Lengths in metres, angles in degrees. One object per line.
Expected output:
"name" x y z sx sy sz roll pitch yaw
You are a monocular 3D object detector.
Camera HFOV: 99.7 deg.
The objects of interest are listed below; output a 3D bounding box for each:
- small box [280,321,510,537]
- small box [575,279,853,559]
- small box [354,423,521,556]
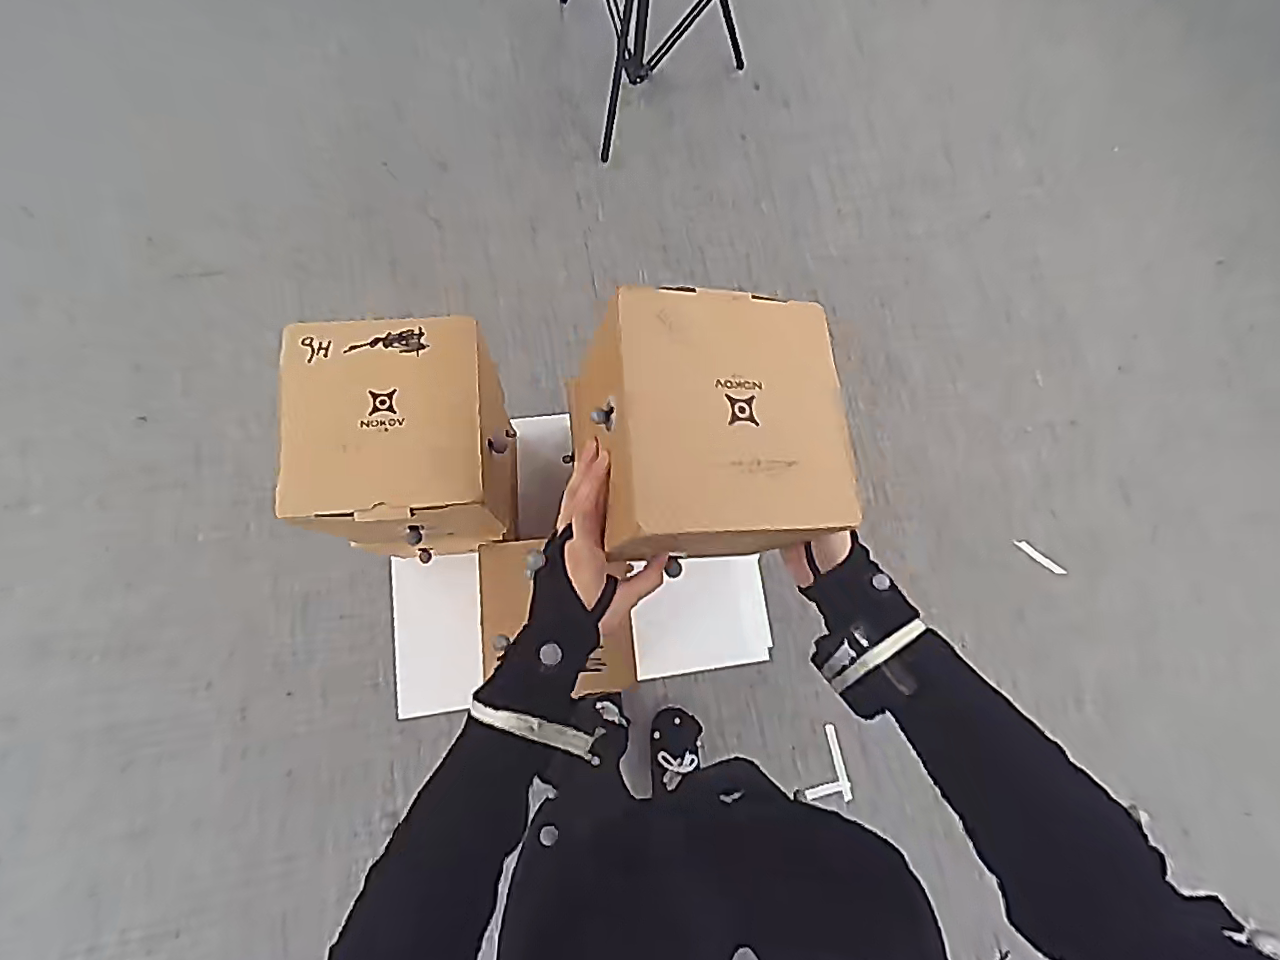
"small box" -0.225 -0.038 0.539 0.168 0.176 0.179 -4 79 -7
"small box" 0.042 -0.034 0.447 0.168 0.176 0.179 0 76 -17
"small box" -0.247 0.005 0.695 0.168 0.176 0.179 -3 78 -7
